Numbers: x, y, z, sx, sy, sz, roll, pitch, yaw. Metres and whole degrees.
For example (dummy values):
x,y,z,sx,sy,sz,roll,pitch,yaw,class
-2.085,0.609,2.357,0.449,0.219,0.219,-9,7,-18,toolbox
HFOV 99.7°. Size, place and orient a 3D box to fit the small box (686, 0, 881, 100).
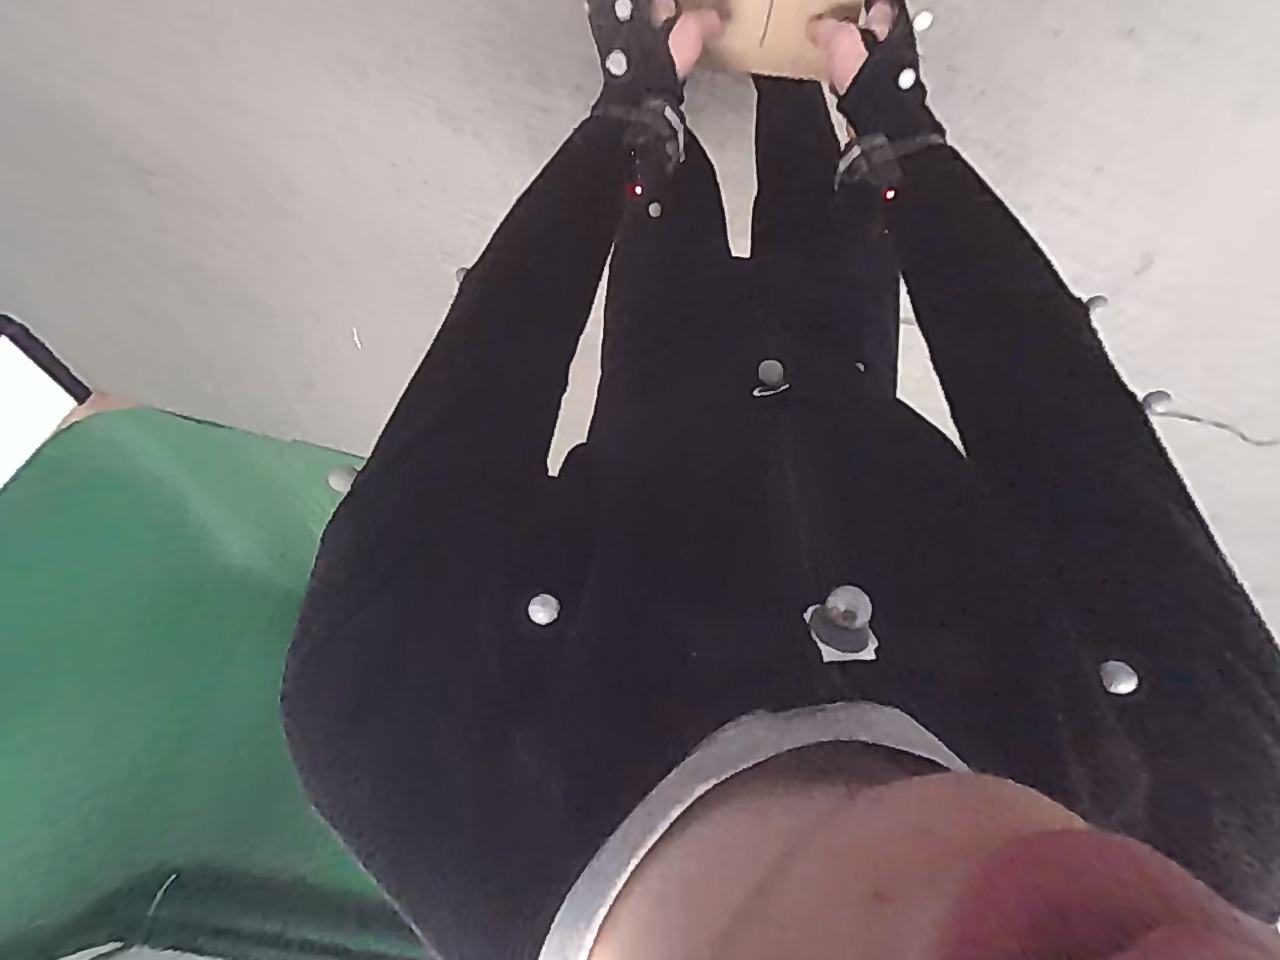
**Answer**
x,y,z,sx,sy,sz,roll,pitch,yaw,class
0.141,-0.493,0.520,0.168,0.176,0.179,9,135,5,small box
